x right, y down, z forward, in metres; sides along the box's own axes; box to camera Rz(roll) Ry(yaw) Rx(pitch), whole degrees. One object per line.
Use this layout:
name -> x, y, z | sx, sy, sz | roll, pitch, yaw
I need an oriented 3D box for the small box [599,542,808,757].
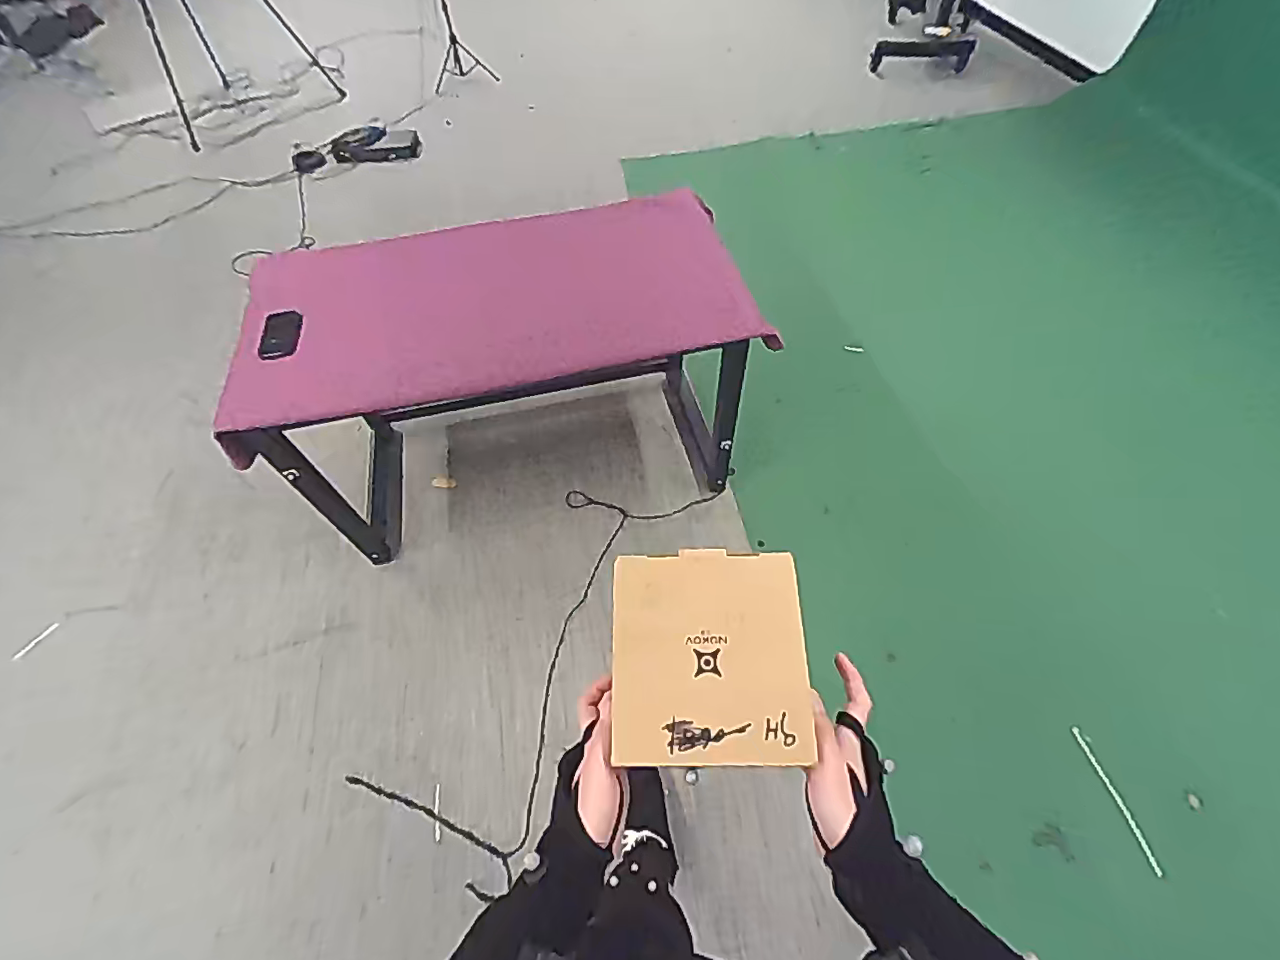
small box -> 0.054, 0.171, 0.528 | 0.168, 0.176, 0.179 | -2, 64, 4
